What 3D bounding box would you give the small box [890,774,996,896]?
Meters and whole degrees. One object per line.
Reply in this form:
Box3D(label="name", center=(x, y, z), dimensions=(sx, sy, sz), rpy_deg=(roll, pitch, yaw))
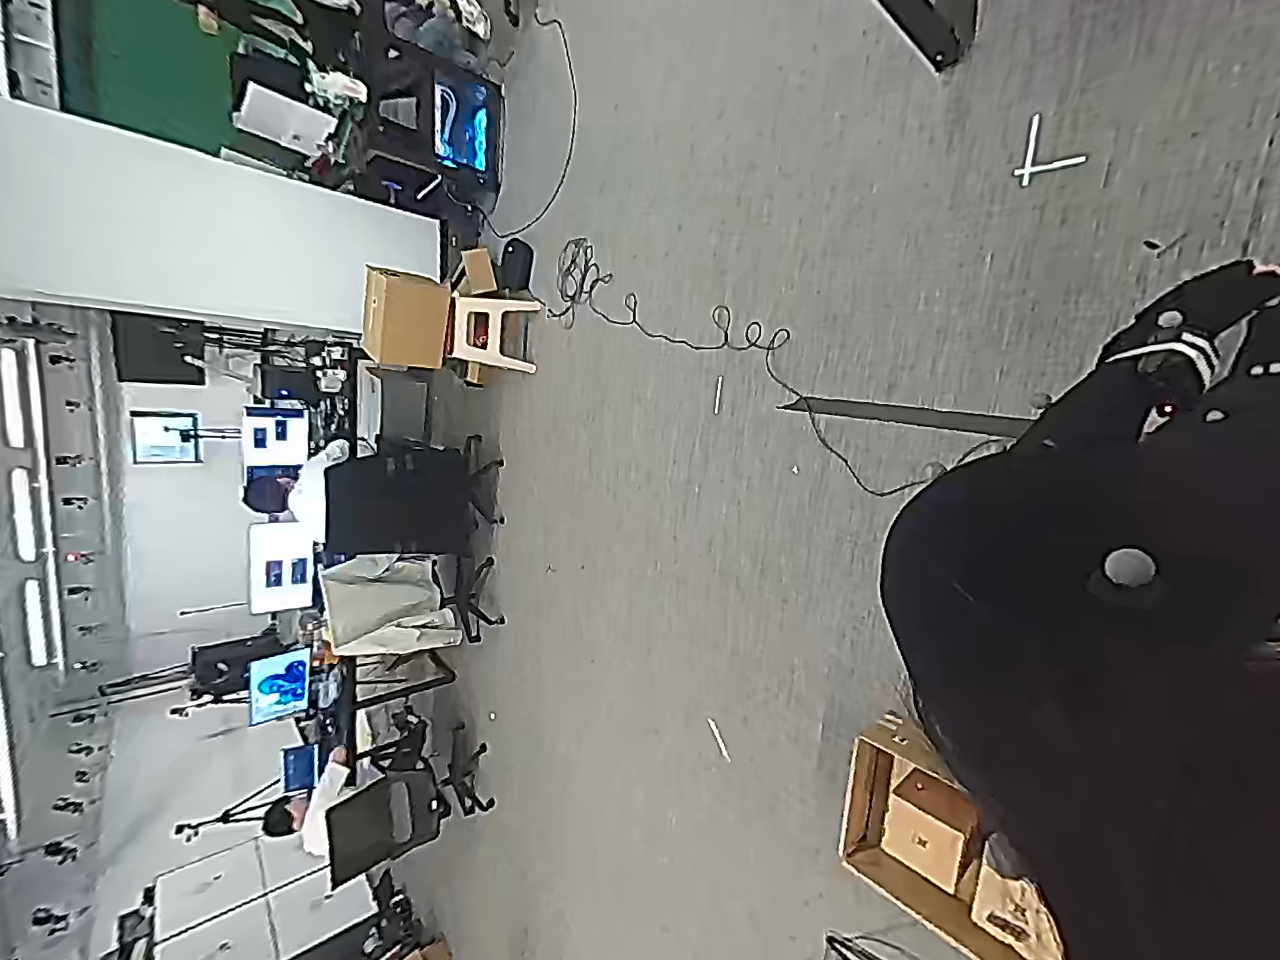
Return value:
Box3D(label="small box", center=(0.768, 0.881, 1.370), dimensions=(0.179, 0.176, 0.168), rpy_deg=(15, 104, 46))
